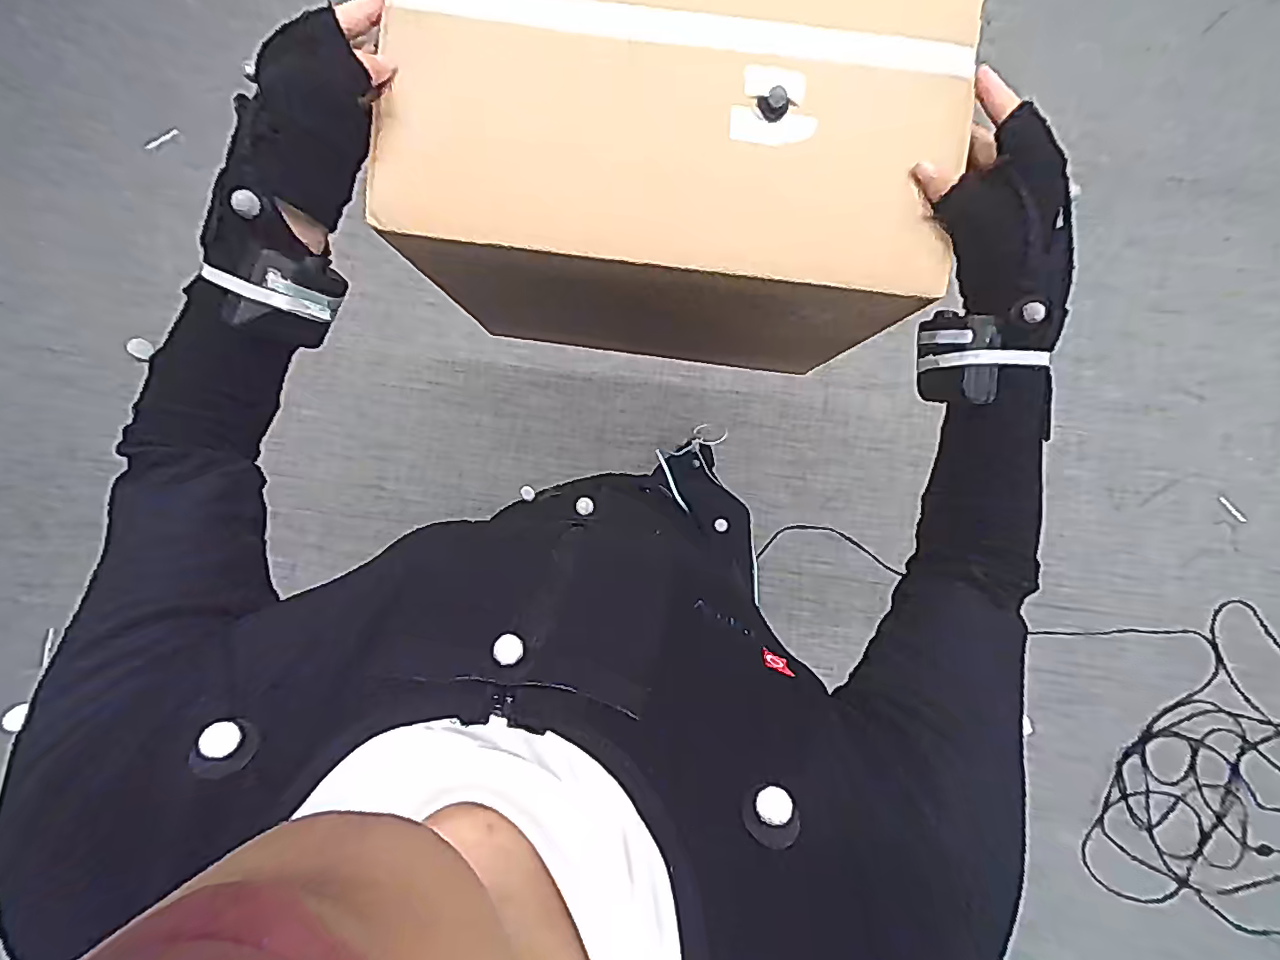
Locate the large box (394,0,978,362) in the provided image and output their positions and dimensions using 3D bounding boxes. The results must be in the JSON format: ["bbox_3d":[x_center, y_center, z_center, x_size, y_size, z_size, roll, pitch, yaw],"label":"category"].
[{"bbox_3d":[0.032,-0.315,0.530,0.408,0.320,0.320,6,92,-2],"label":"large box"}]
